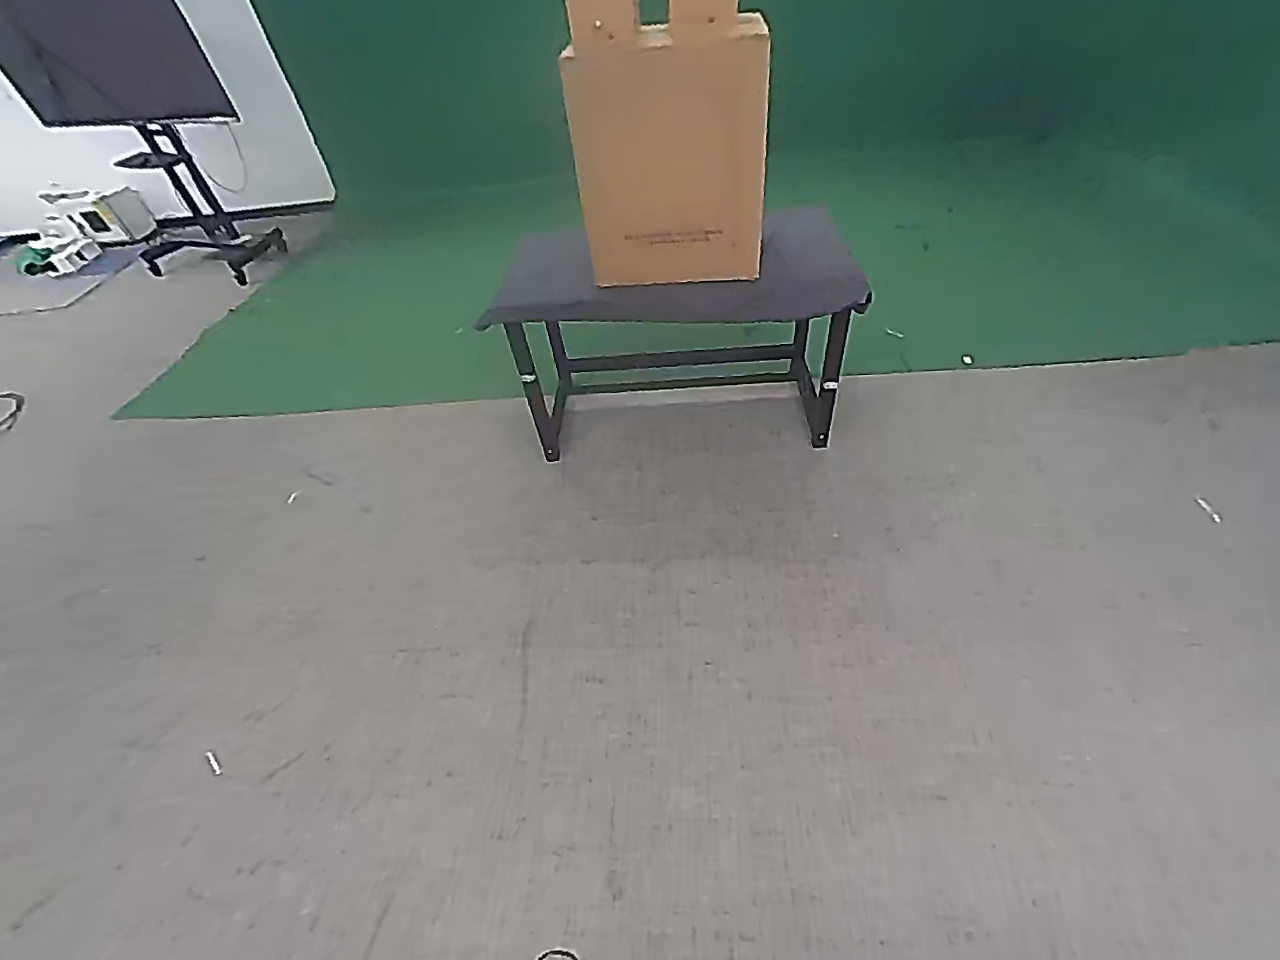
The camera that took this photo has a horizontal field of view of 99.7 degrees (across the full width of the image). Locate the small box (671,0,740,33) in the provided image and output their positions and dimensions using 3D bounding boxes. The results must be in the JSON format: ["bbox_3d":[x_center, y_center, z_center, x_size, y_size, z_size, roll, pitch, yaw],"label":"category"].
[{"bbox_3d":[0.162,-1.228,1.342,0.168,0.176,0.179,-1,47,2],"label":"small box"}]

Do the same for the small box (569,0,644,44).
[{"bbox_3d":[-0.084,-1.218,1.355,0.168,0.176,0.179,1,49,9],"label":"small box"}]
